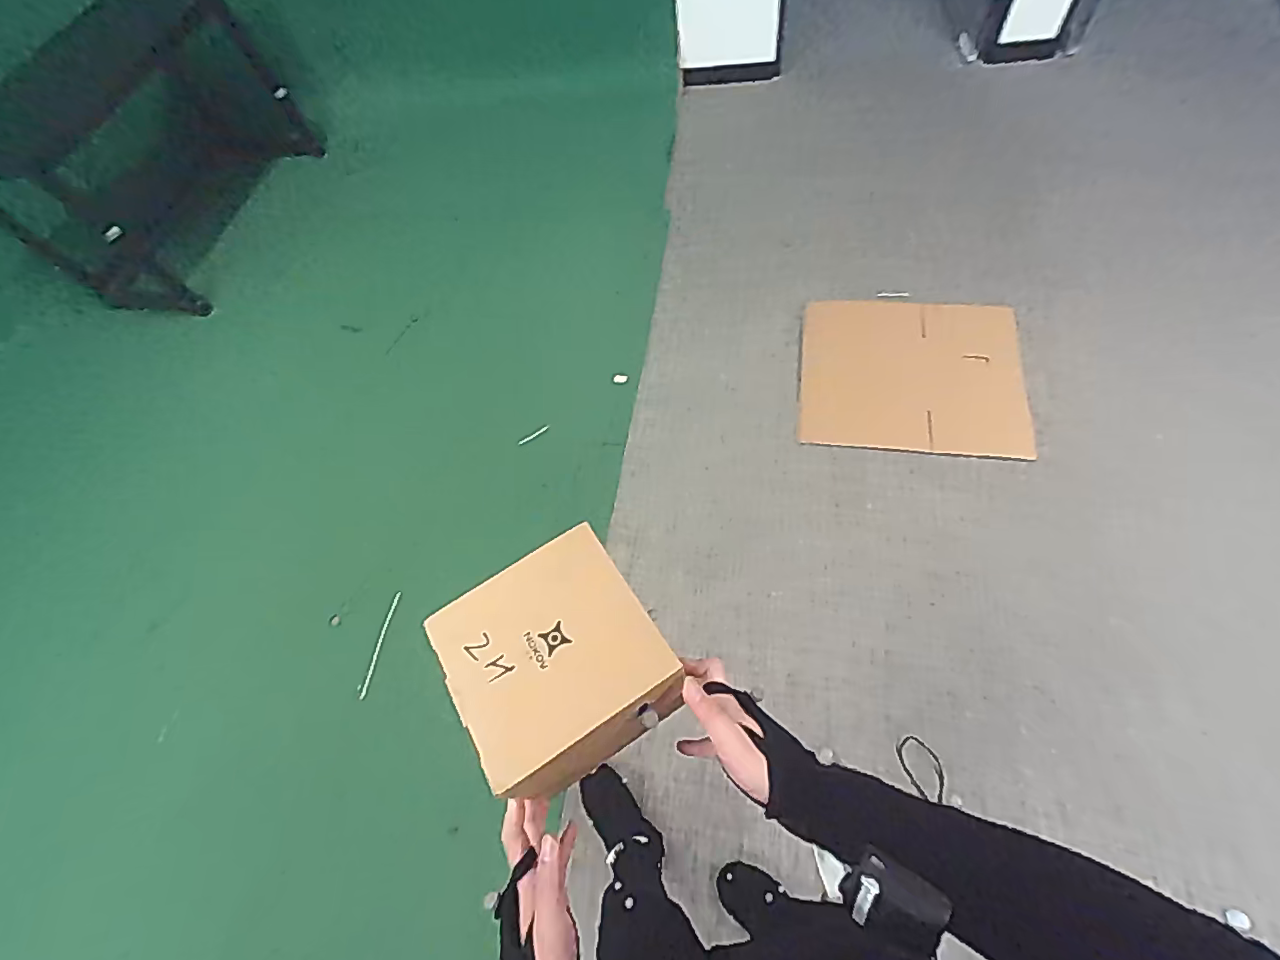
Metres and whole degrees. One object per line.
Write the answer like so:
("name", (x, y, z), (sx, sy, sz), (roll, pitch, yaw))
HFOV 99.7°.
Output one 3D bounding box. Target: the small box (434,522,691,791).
("small box", (-0.065, 0.177, 0.533), (0.179, 0.176, 0.168), (-31, 60, -10))
